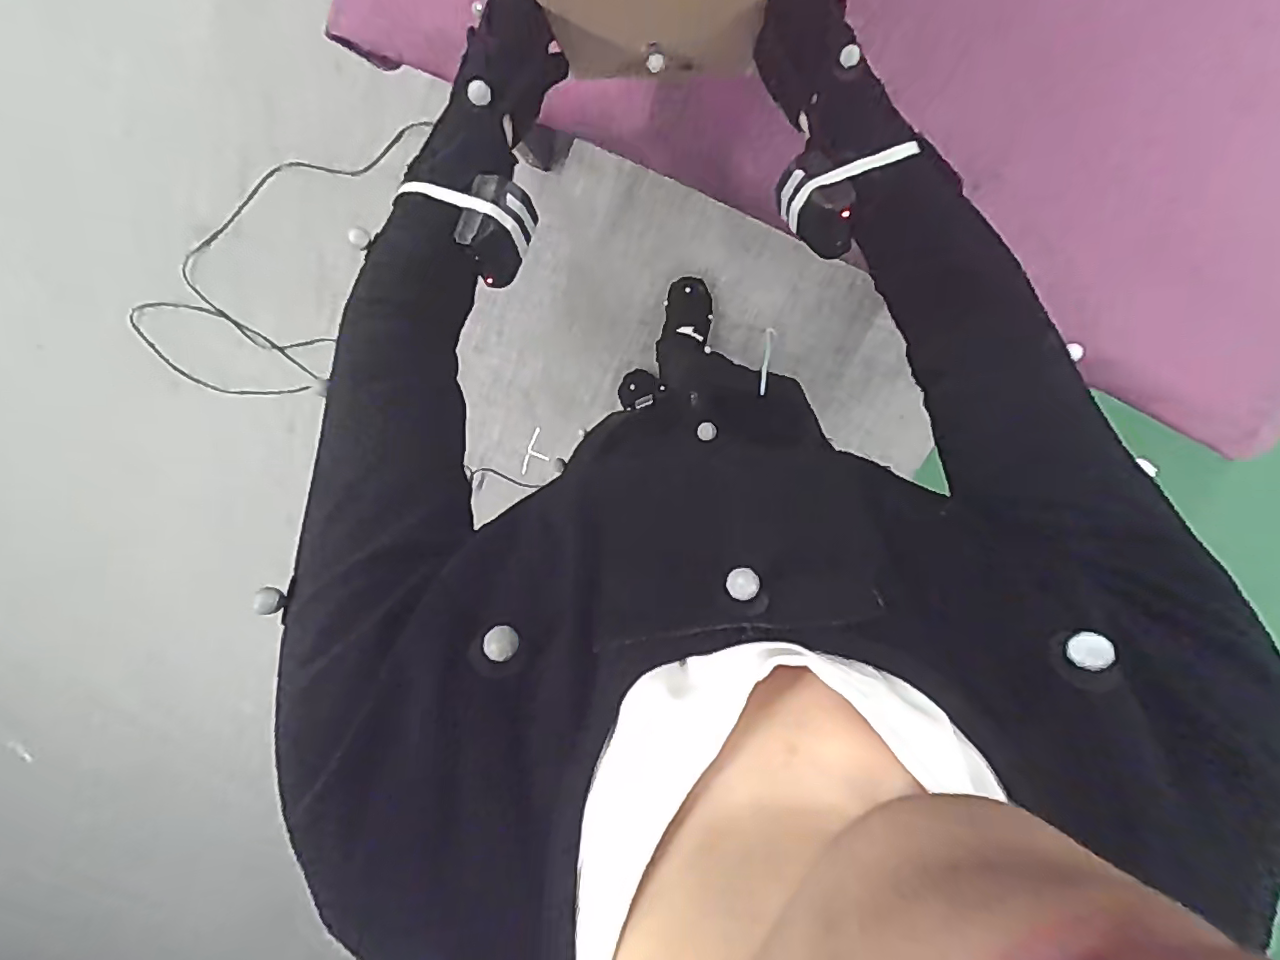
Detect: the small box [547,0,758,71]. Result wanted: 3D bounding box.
[{"bbox_3d":[0.009,-0.437,0.395,0.168,0.176,0.179,3,108,5],"label":"small box"}]
